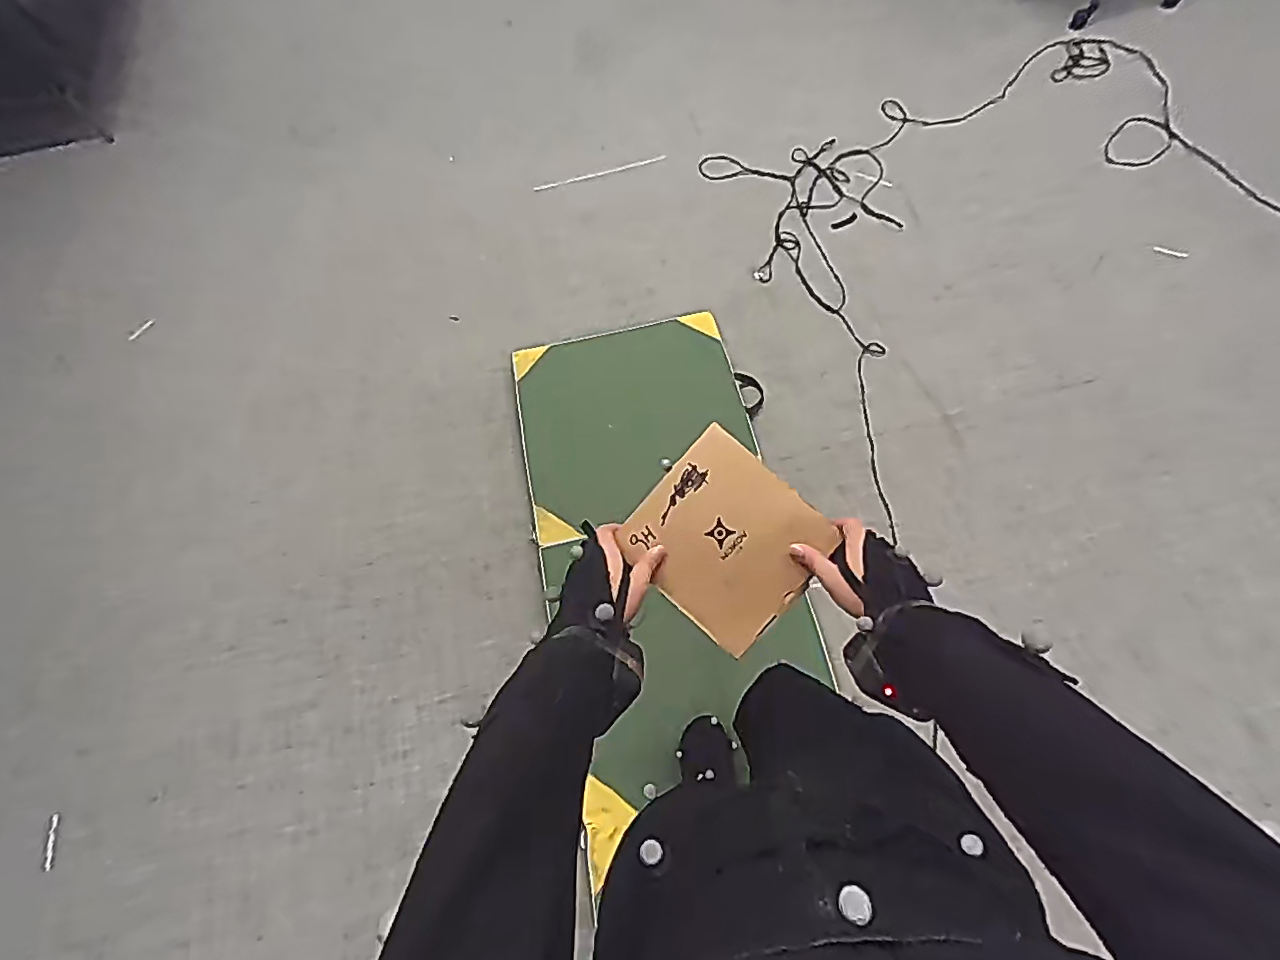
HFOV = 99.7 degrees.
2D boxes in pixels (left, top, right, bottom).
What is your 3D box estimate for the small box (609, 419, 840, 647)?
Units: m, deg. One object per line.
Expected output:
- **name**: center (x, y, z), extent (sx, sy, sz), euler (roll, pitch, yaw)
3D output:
- **small box**: center (0.088, 0.055, 0.623), extent (0.179, 0.176, 0.168), euler (42, 89, 4)
